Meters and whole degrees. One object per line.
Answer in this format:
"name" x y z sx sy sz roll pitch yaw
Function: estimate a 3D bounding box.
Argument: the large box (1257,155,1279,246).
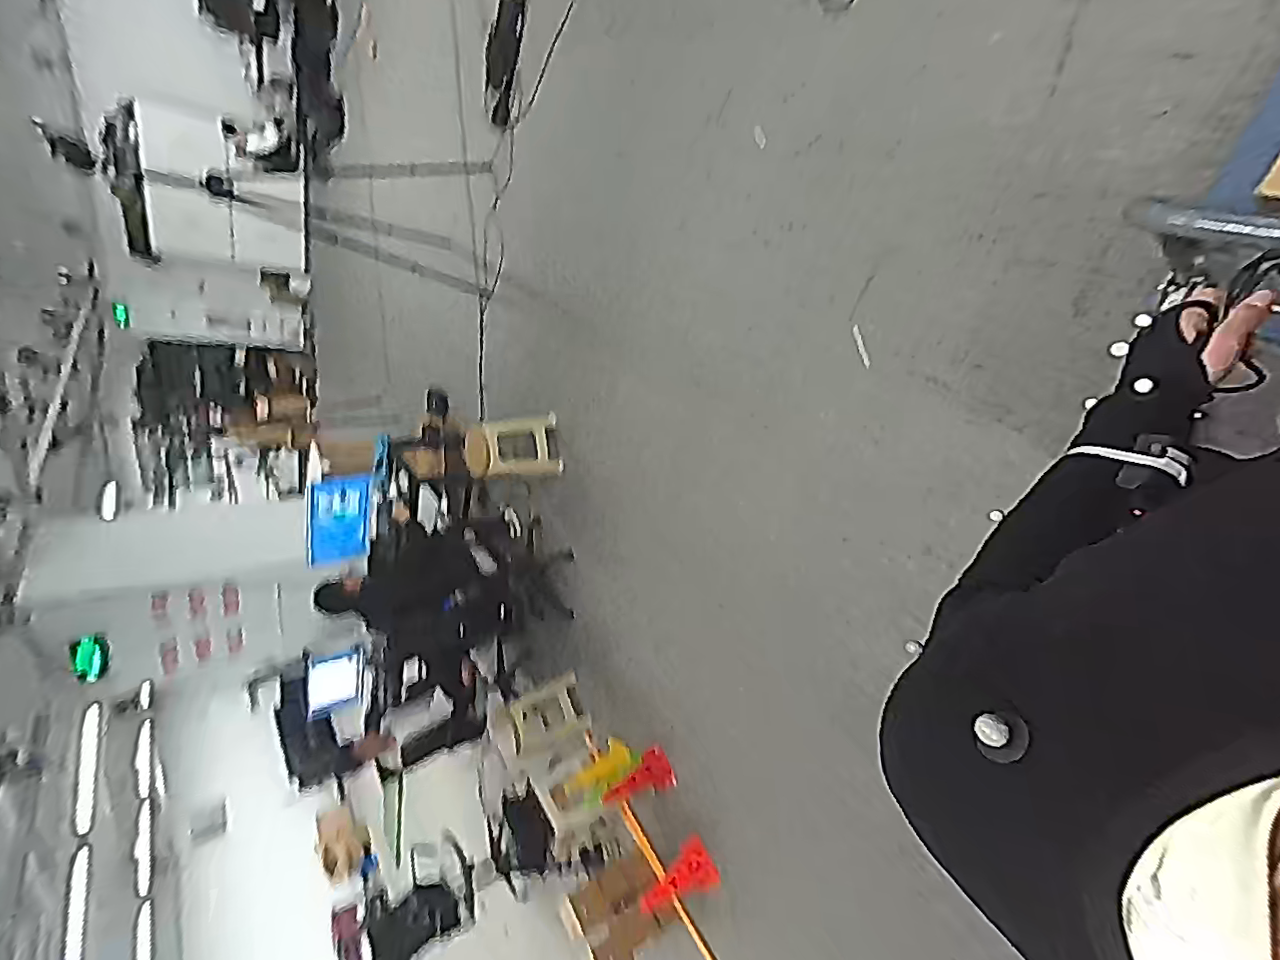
"large box" 1.131 -0.511 0.688 0.320 0.320 0.408 40 123 39
